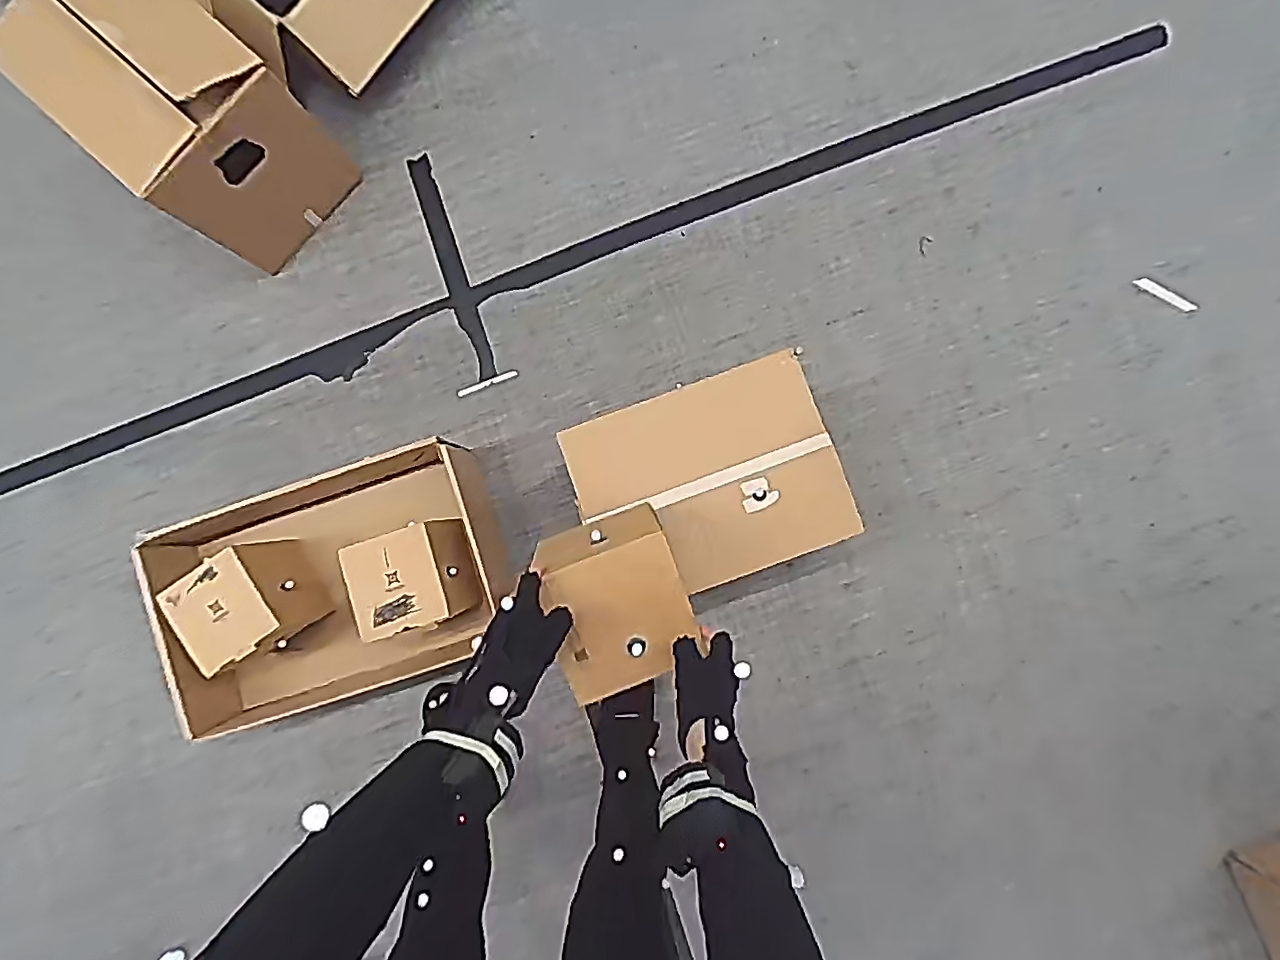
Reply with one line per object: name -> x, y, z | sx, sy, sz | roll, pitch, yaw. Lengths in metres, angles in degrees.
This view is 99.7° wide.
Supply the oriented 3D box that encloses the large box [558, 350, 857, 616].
large box -> 0.107, 0.013, 1.002 | 0.408, 0.320, 0.320 | -20, 87, 0
